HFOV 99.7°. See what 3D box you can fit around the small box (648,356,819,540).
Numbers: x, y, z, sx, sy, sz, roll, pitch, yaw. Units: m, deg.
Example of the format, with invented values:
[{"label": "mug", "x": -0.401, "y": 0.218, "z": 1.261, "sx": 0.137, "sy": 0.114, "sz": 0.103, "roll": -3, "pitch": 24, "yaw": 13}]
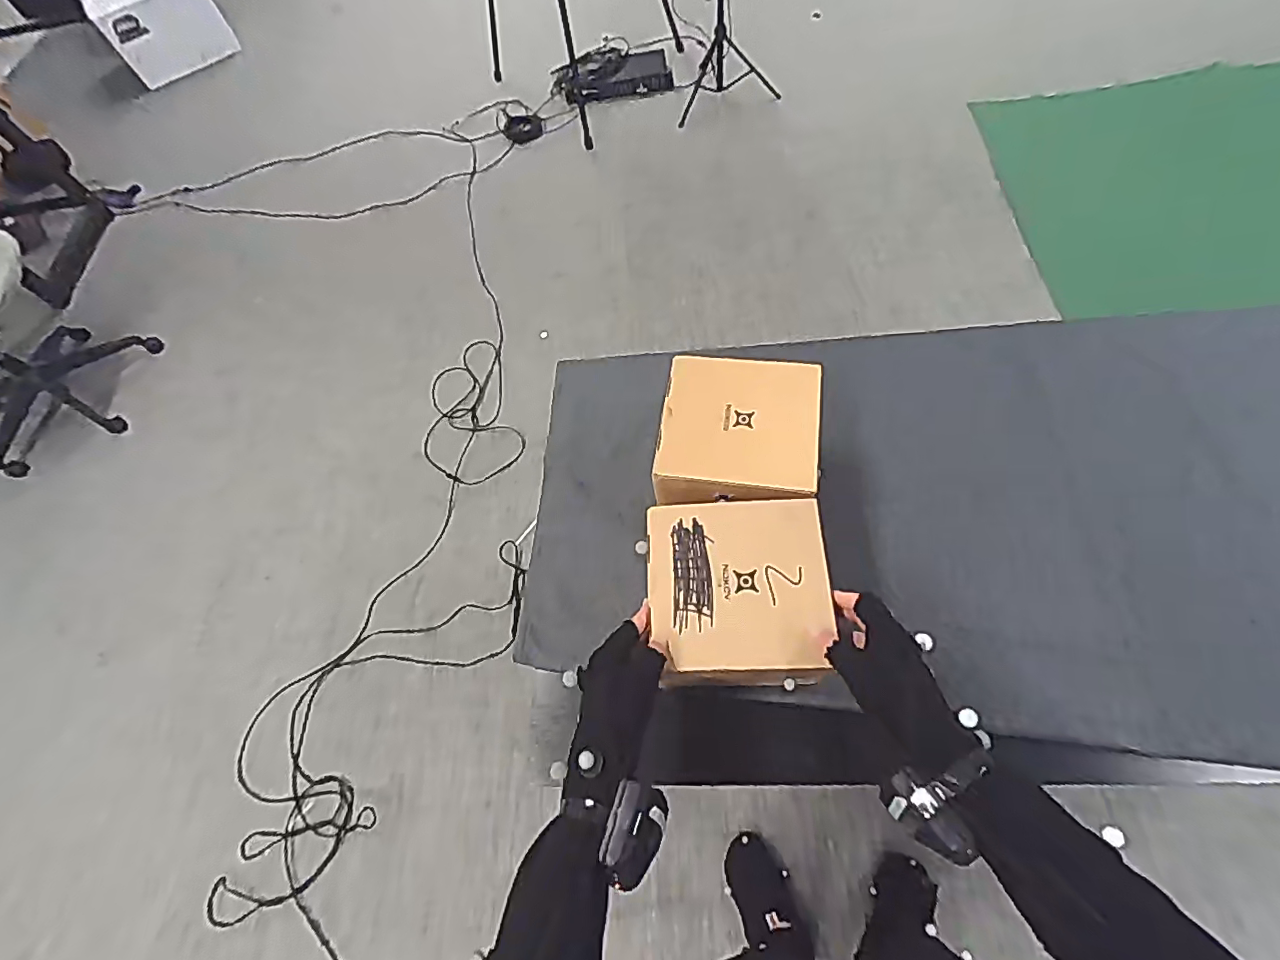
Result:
[{"label": "small box", "x": 0.116, "y": -0.033, "z": 0.675, "sx": 0.179, "sy": 0.176, "sz": 0.168, "roll": 5, "pitch": 65, "yaw": 11}]
